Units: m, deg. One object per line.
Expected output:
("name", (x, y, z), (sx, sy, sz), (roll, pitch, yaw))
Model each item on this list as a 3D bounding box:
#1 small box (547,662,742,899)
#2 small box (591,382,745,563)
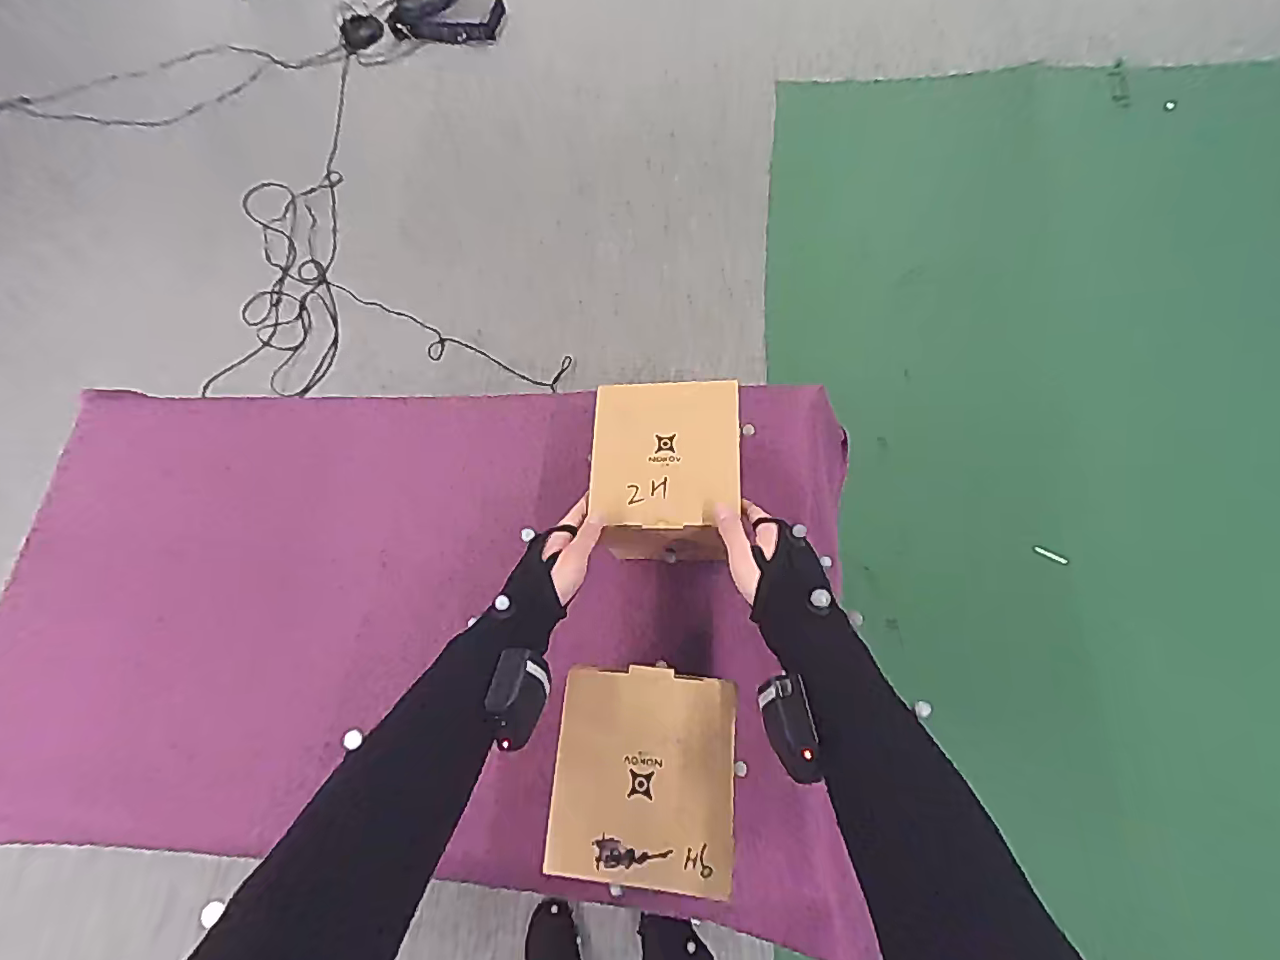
("small box", (0.016, 0.296, 0.564), (0.168, 0.176, 0.179), (2, 67, 9))
("small box", (0.043, -0.003, 0.672), (0.168, 0.176, 0.179), (0, 70, 9))
